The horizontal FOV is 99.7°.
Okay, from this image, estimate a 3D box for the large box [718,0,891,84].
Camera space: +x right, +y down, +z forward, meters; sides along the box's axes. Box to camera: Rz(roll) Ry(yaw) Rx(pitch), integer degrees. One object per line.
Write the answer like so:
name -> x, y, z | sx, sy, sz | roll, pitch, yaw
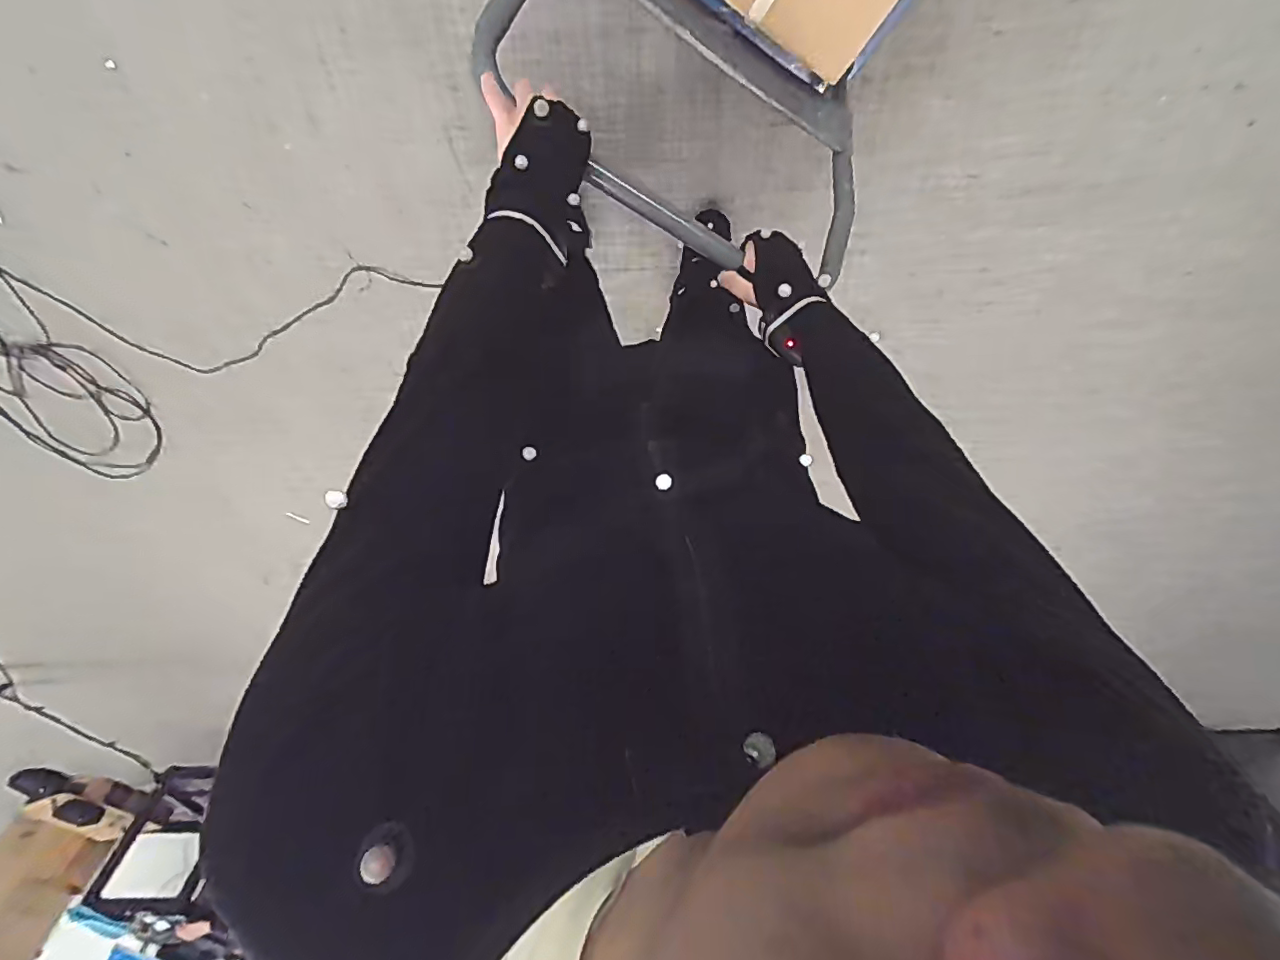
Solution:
large box -> 0.266, -0.865, 0.718 | 0.320, 0.320, 0.408 | 24, 141, -18
